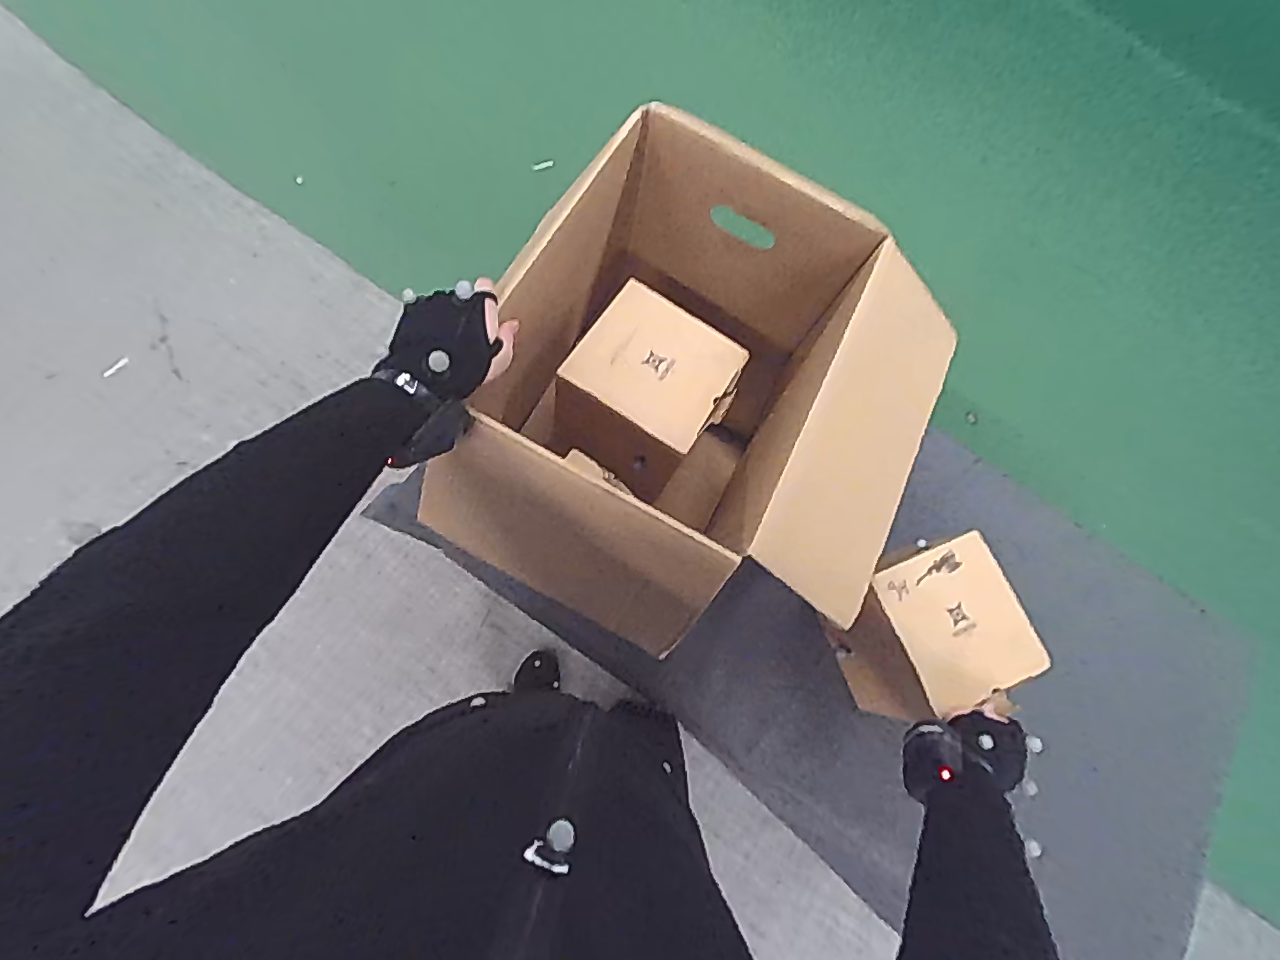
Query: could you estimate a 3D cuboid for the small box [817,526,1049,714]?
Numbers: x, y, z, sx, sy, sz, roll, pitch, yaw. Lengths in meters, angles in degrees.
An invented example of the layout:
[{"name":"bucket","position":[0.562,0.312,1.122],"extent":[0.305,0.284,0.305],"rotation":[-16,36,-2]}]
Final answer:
[{"name":"small box","position":[0.365,0.177,0.708],"extent":[0.168,0.176,0.179],"rotation":[-18,78,-11]}]
